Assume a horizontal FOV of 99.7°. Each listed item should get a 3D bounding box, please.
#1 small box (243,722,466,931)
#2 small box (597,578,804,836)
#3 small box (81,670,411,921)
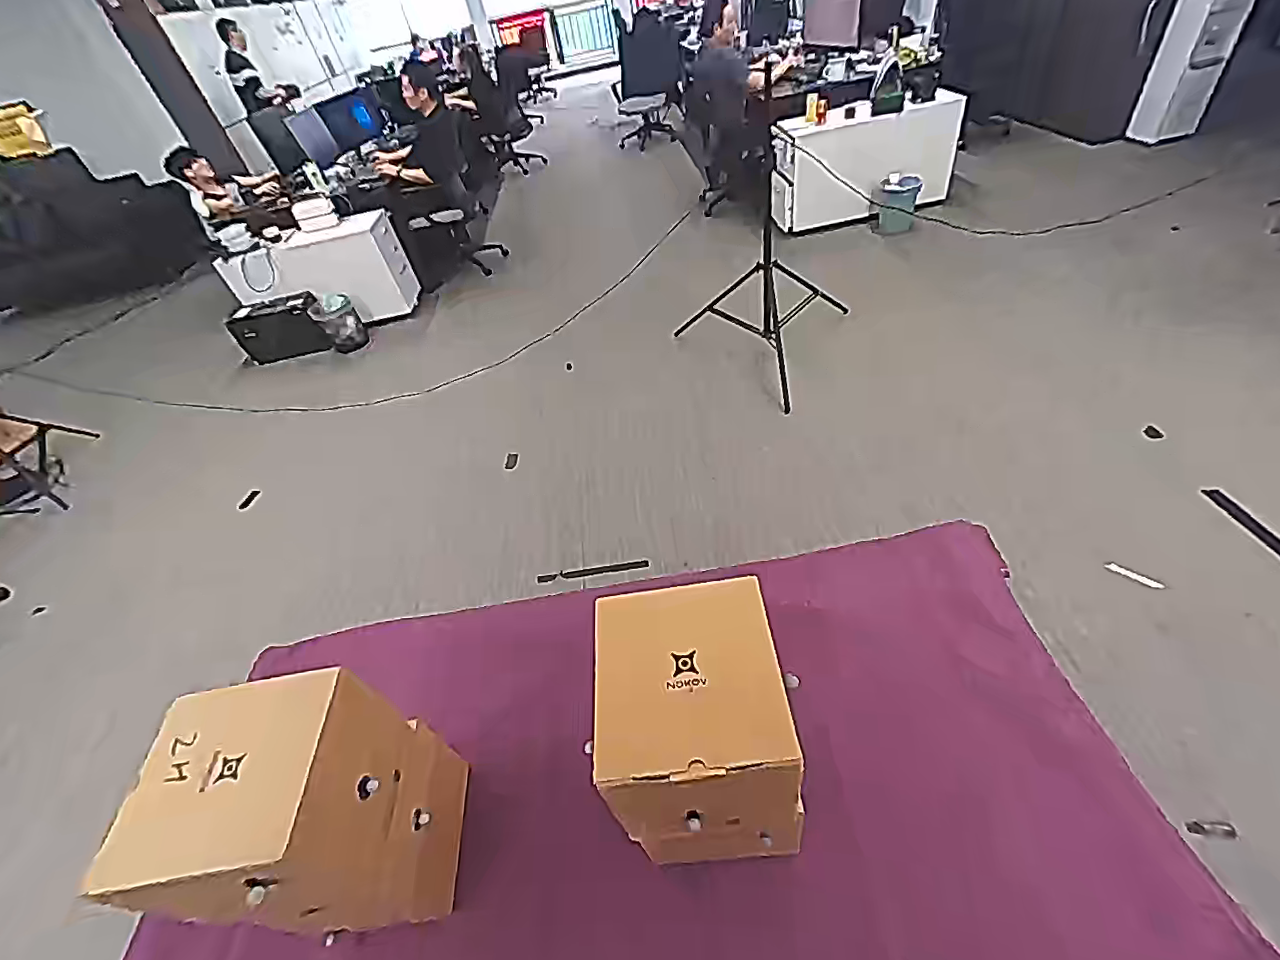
[{"bbox_3d":[-0.328,0.425,0.659,0.168,0.176,0.179,-11,43,2],"label":"small box"},{"bbox_3d":[0.054,0.224,0.536,0.168,0.176,0.179,-9,44,4],"label":"small box"},{"bbox_3d":[-0.356,0.315,0.539,0.179,0.176,0.168,-11,43,2],"label":"small box"}]
